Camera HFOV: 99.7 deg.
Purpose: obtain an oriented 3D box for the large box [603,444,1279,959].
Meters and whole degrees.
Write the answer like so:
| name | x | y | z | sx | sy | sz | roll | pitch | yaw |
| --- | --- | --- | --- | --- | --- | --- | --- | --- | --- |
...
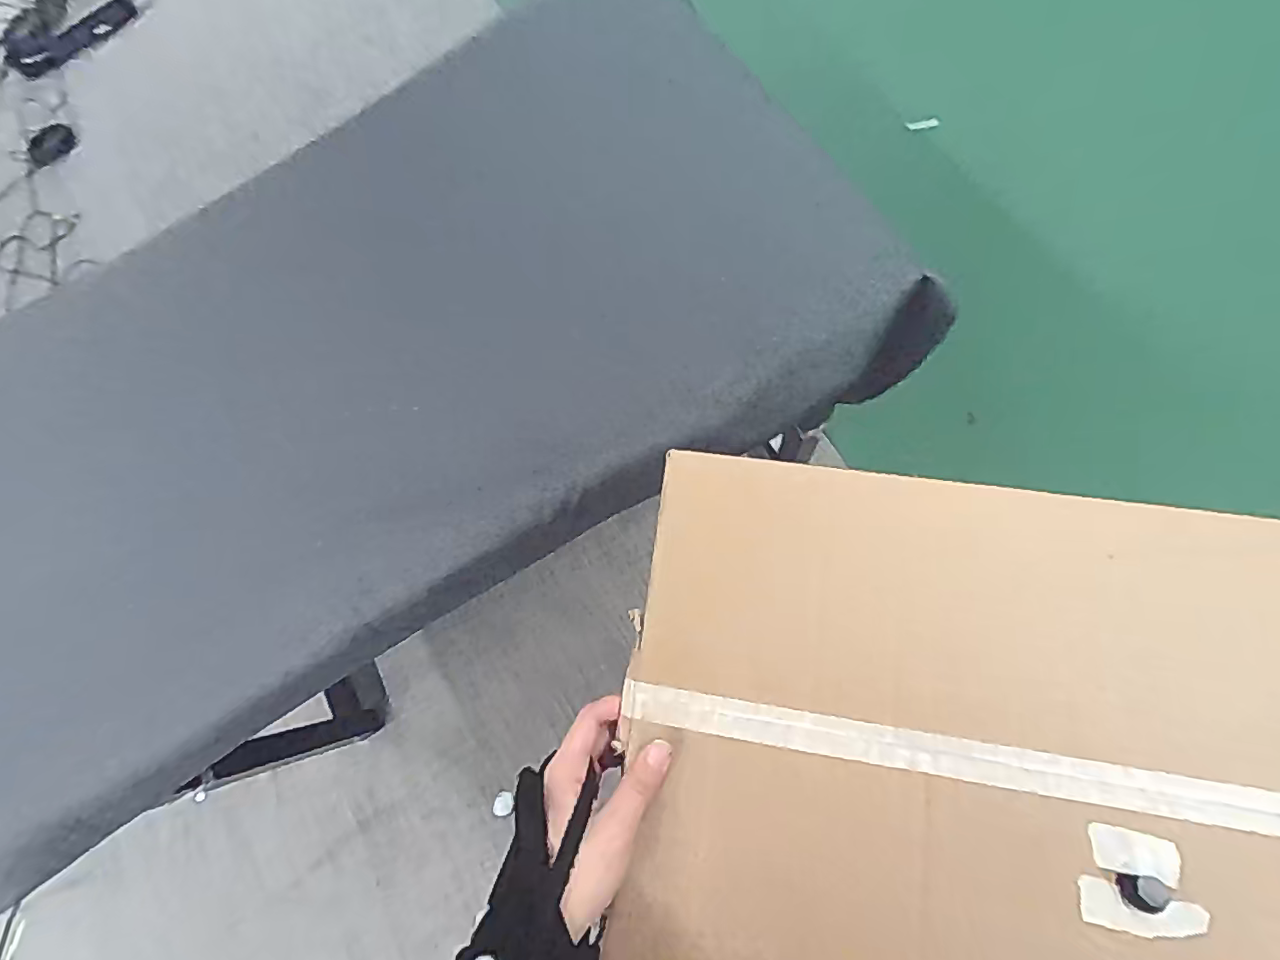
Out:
| name | x | y | z | sx | sy | sz | roll | pitch | yaw |
| --- | --- | --- | --- | --- | --- | --- | --- | --- | --- |
| large box | 0.203 | 0.178 | 0.450 | 0.408 | 0.320 | 0.320 | 6 | 77 | 7 |
